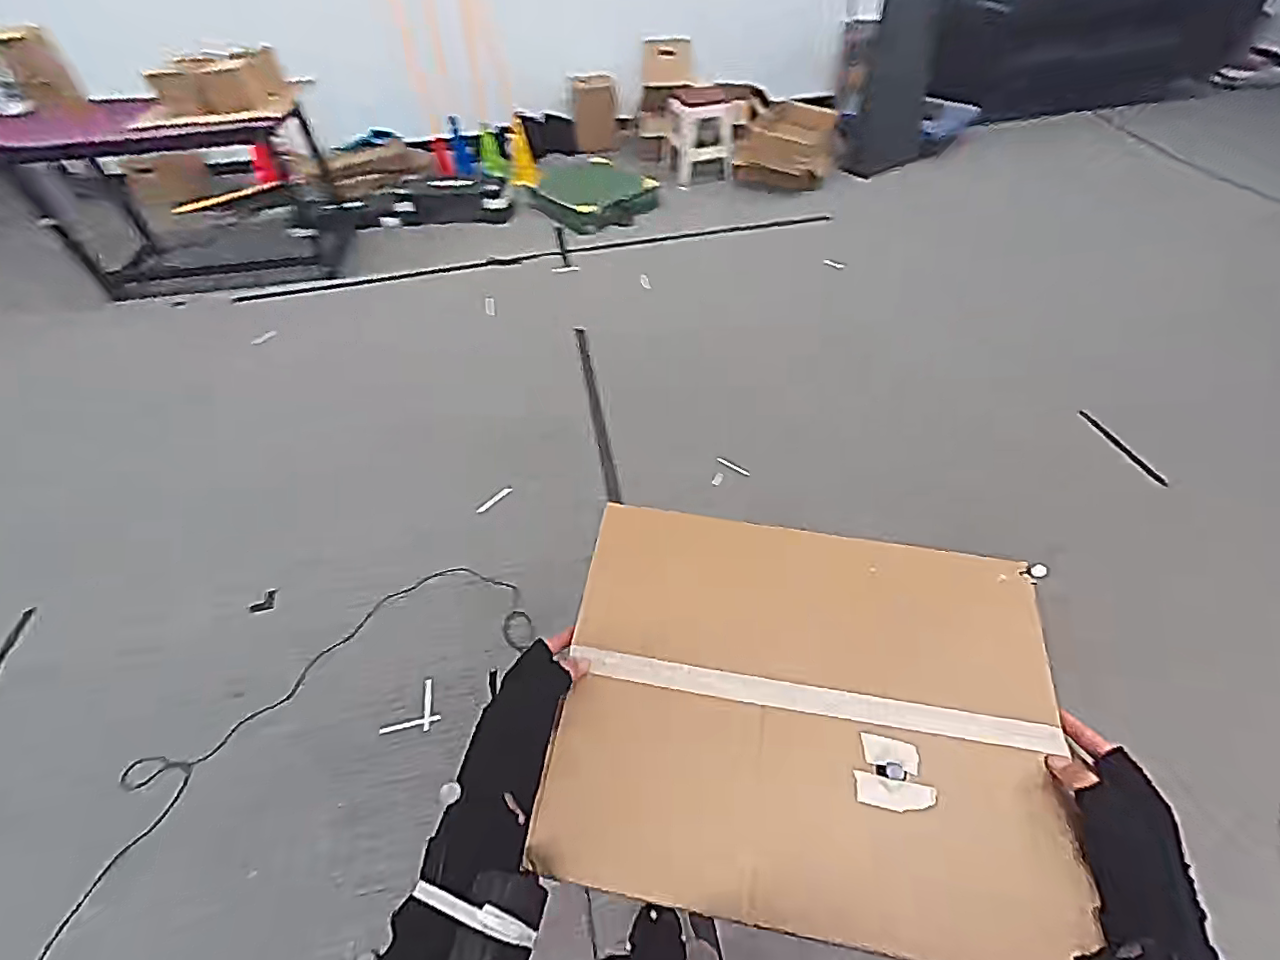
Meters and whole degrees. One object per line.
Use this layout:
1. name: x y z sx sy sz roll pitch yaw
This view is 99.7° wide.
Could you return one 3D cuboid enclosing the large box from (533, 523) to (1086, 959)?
1. large box: 0.135 0.270 0.591 0.408 0.320 0.320 7 60 6
